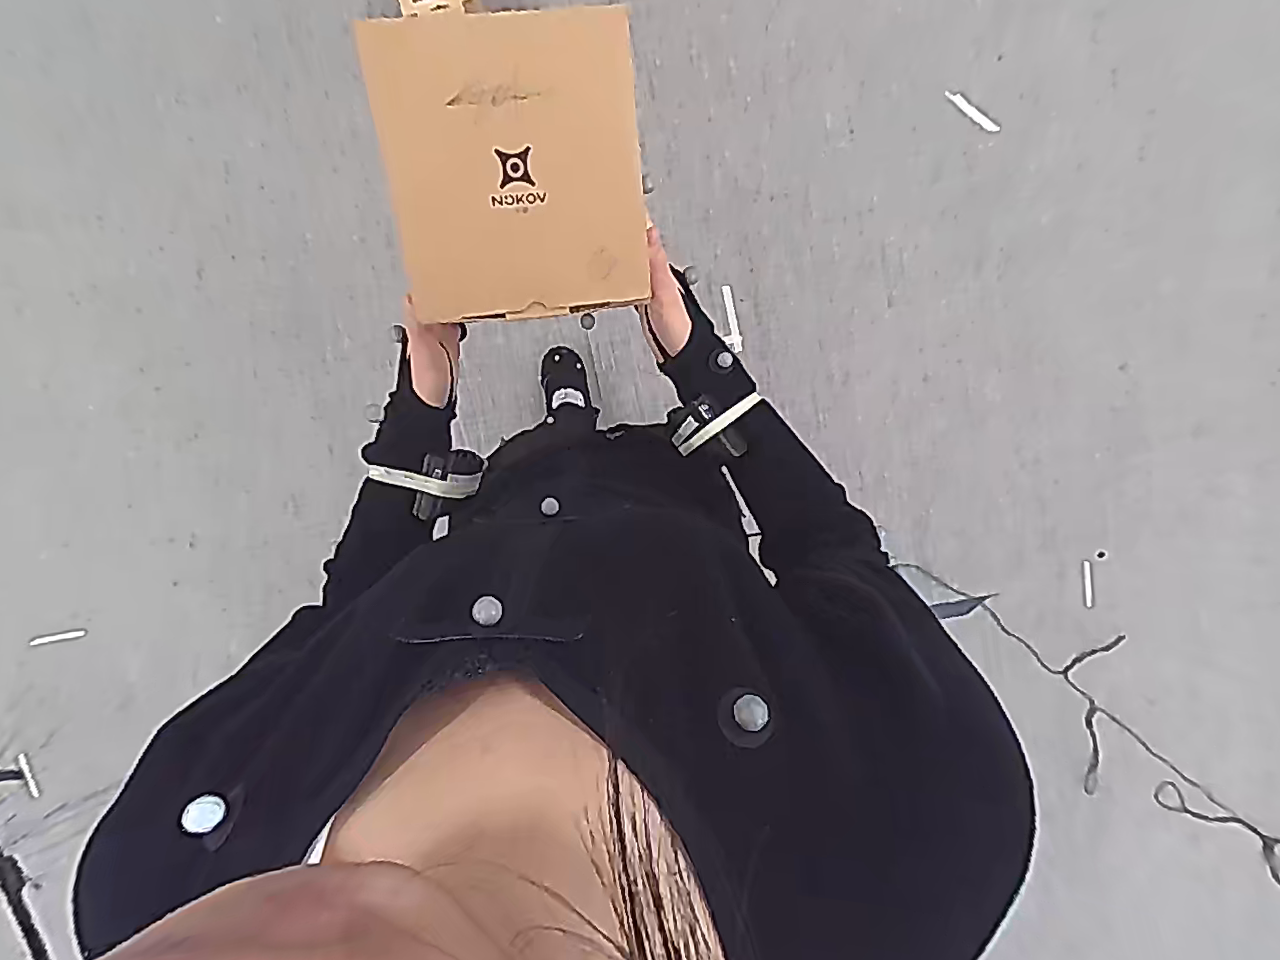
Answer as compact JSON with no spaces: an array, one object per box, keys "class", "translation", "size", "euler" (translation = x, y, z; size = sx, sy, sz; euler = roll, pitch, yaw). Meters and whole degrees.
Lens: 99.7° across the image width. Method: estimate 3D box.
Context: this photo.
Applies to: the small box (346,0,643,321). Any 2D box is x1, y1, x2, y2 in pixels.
[{"class":"small box","translation":[-0.094,-0.226,0.426],"size":[0.168,0.176,0.179],"euler":[-9,107,-5]}]
